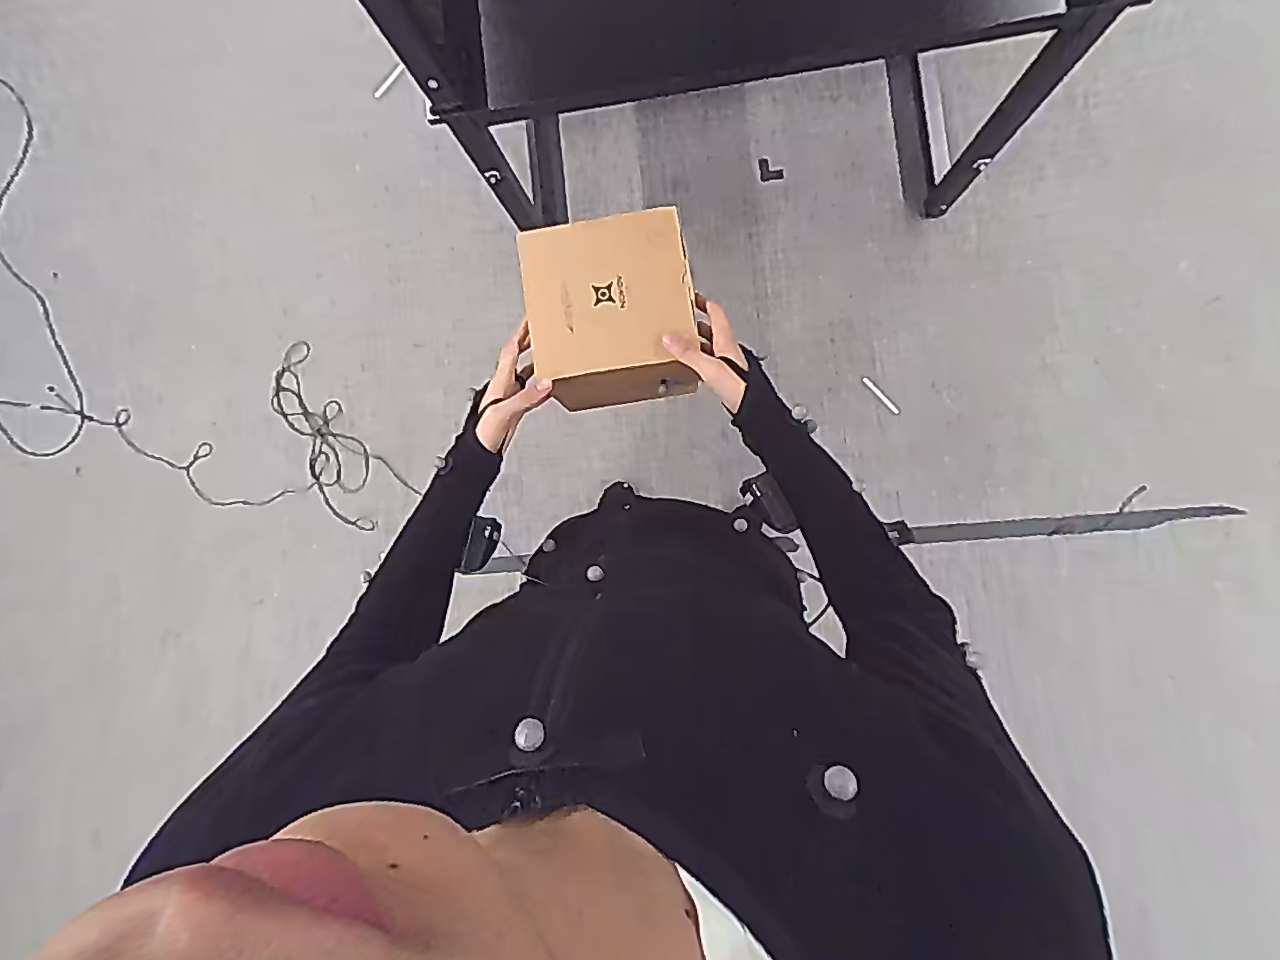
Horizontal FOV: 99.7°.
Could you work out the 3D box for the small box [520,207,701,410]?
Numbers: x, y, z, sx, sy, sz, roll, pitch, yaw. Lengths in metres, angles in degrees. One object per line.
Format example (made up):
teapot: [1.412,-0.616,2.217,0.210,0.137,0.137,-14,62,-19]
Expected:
small box: [-0.028,-0.187,0.636,0.179,0.176,0.168,-7,84,3]
